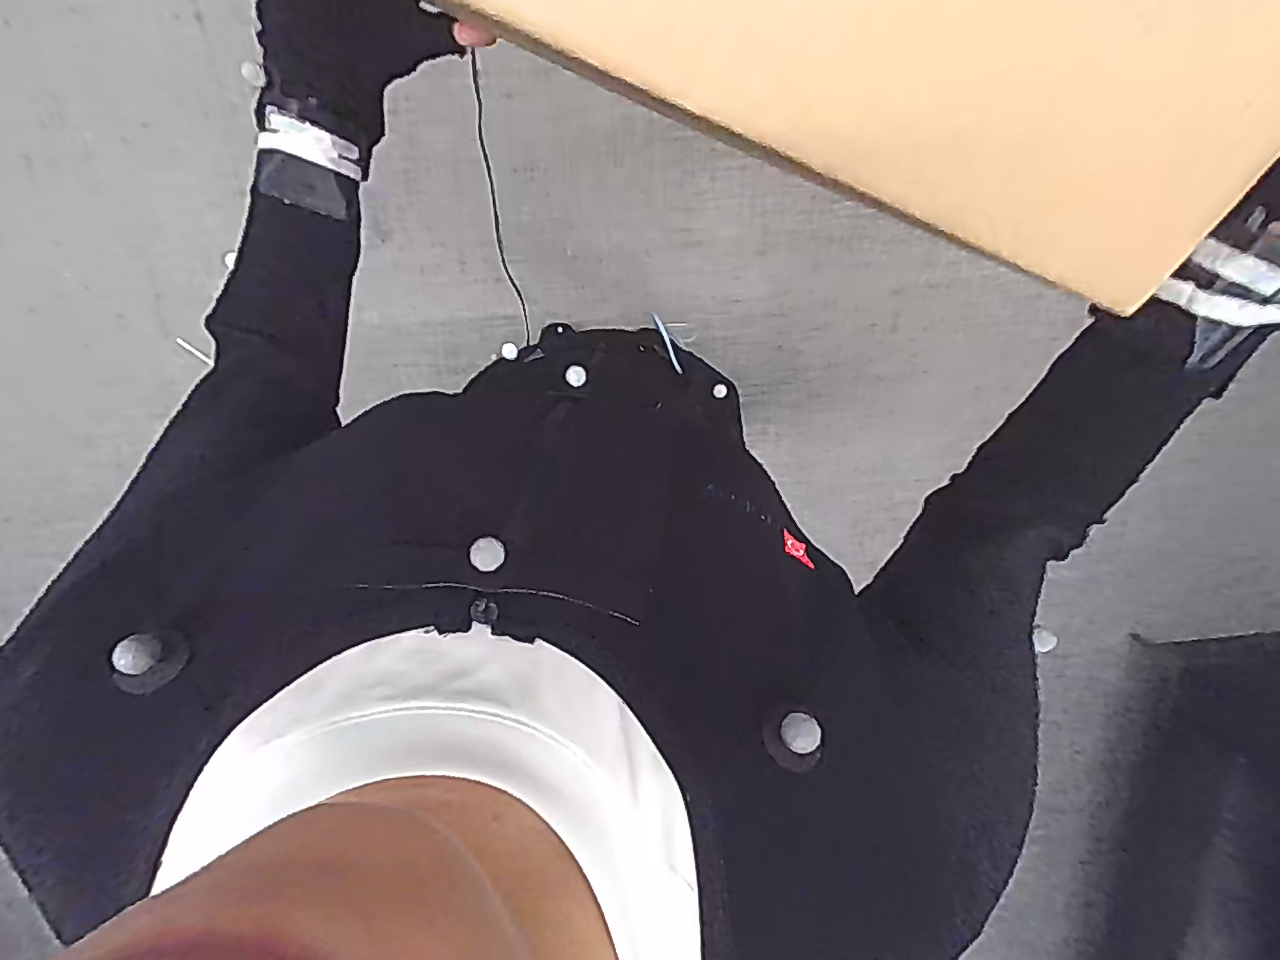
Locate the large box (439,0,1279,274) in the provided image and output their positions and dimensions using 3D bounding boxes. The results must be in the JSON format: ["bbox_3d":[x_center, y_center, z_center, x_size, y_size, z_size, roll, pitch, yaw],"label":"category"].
[{"bbox_3d":[0.072,-0.328,0.208,0.408,0.320,0.320,8,127,-24],"label":"large box"}]
